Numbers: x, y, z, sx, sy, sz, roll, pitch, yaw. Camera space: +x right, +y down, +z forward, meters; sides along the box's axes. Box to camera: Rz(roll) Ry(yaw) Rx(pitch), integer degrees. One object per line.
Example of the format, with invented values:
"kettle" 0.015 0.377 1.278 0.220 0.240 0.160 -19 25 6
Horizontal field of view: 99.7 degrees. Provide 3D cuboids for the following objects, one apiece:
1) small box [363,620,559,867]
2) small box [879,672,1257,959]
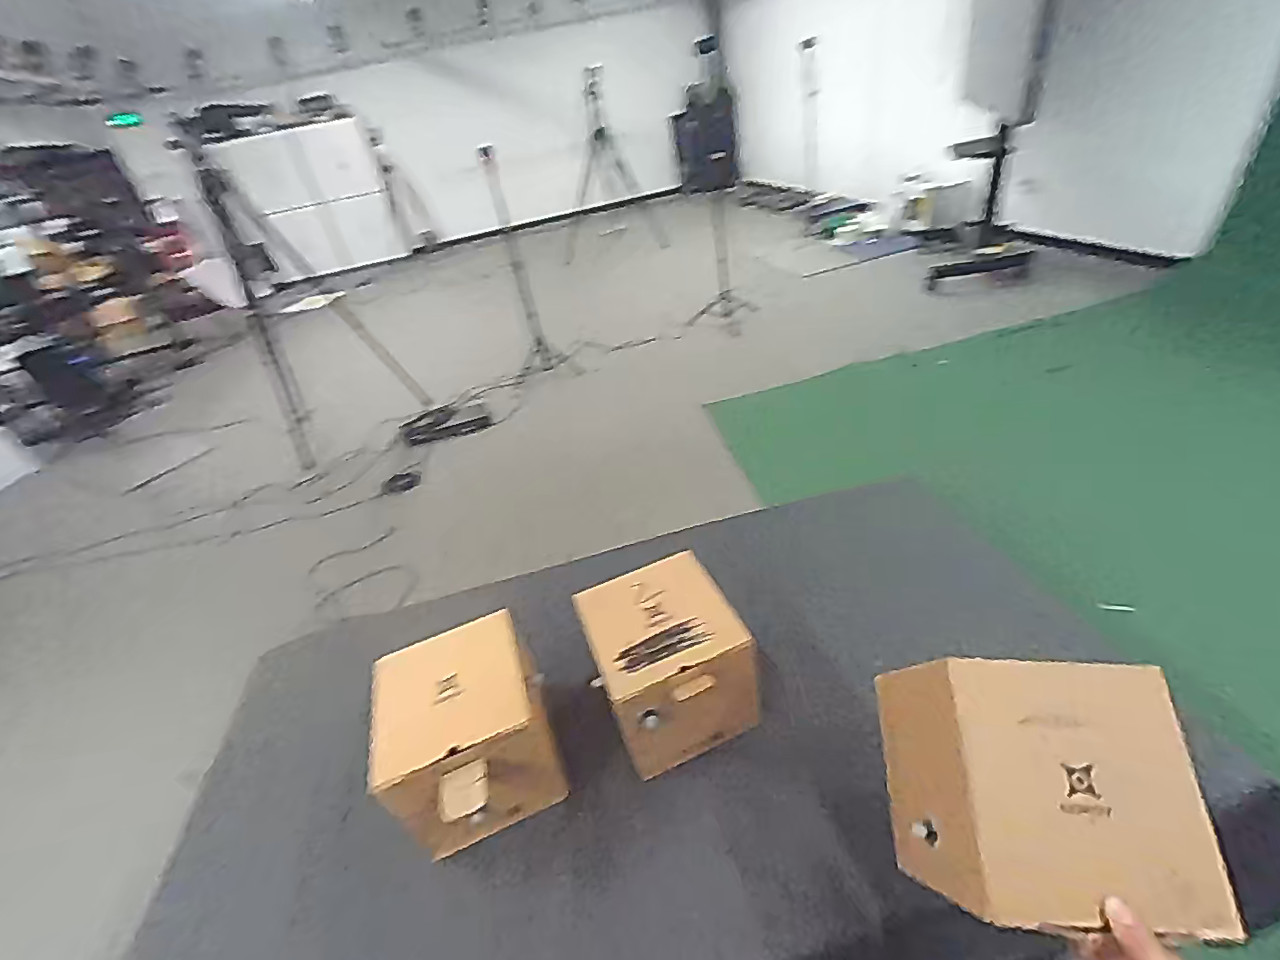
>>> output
"small box" -0.211 0.311 0.652 0.168 0.176 0.179 -21 36 -13
"small box" 0.322 0.266 0.458 0.168 0.176 0.179 3 65 2
